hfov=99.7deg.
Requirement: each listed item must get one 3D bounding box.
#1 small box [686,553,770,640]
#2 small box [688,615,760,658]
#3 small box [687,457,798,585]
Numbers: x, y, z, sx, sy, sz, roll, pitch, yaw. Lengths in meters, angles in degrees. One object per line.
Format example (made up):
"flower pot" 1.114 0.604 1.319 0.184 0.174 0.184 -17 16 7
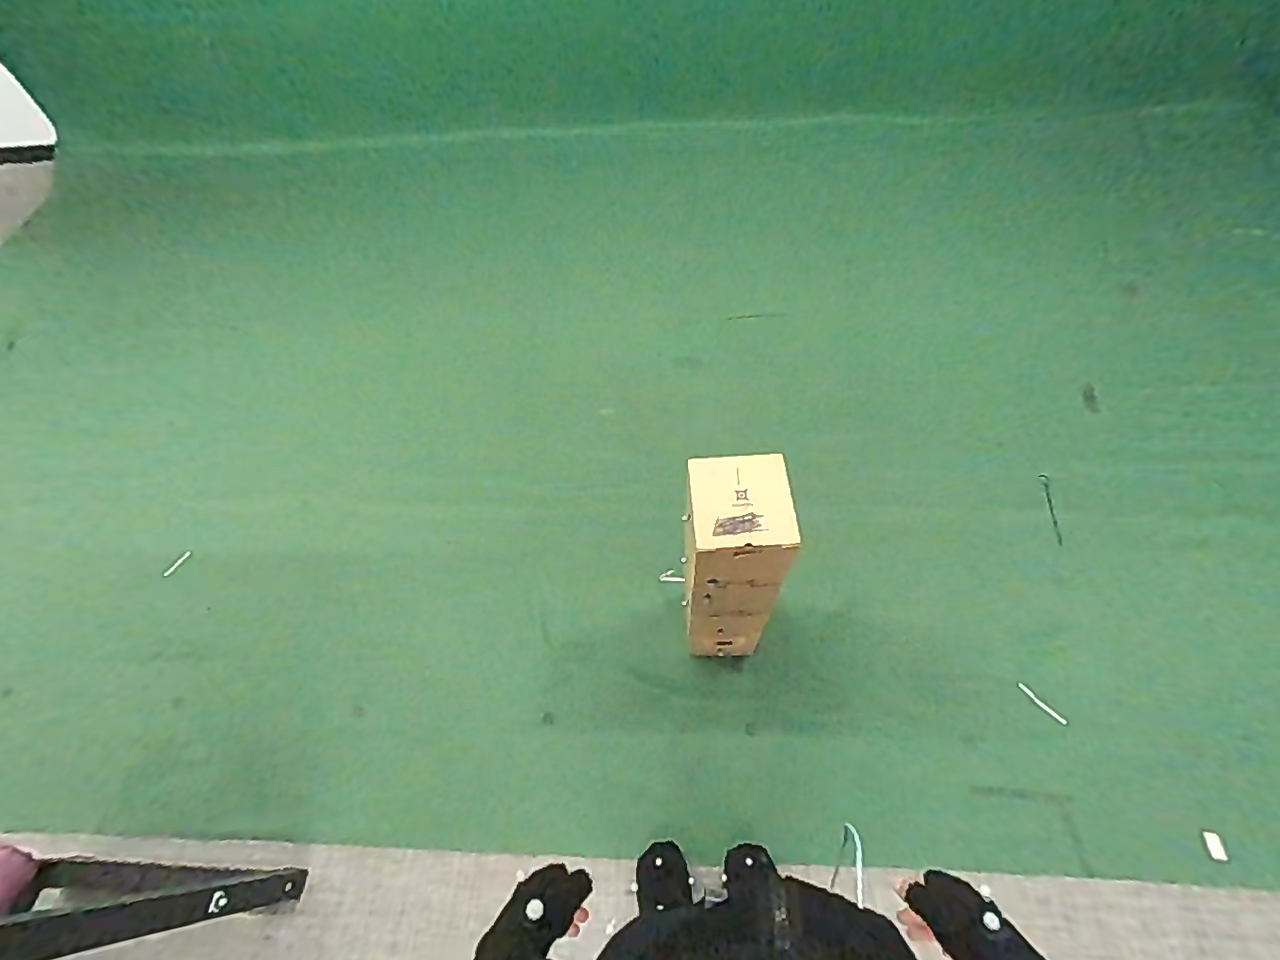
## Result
"small box" 0.193 0.257 1.239 0.168 0.176 0.179 -3 59 2
"small box" 0.206 0.343 1.376 0.168 0.176 0.179 -2 58 4
"small box" 0.172 0.081 0.962 0.168 0.176 0.179 -3 57 1
